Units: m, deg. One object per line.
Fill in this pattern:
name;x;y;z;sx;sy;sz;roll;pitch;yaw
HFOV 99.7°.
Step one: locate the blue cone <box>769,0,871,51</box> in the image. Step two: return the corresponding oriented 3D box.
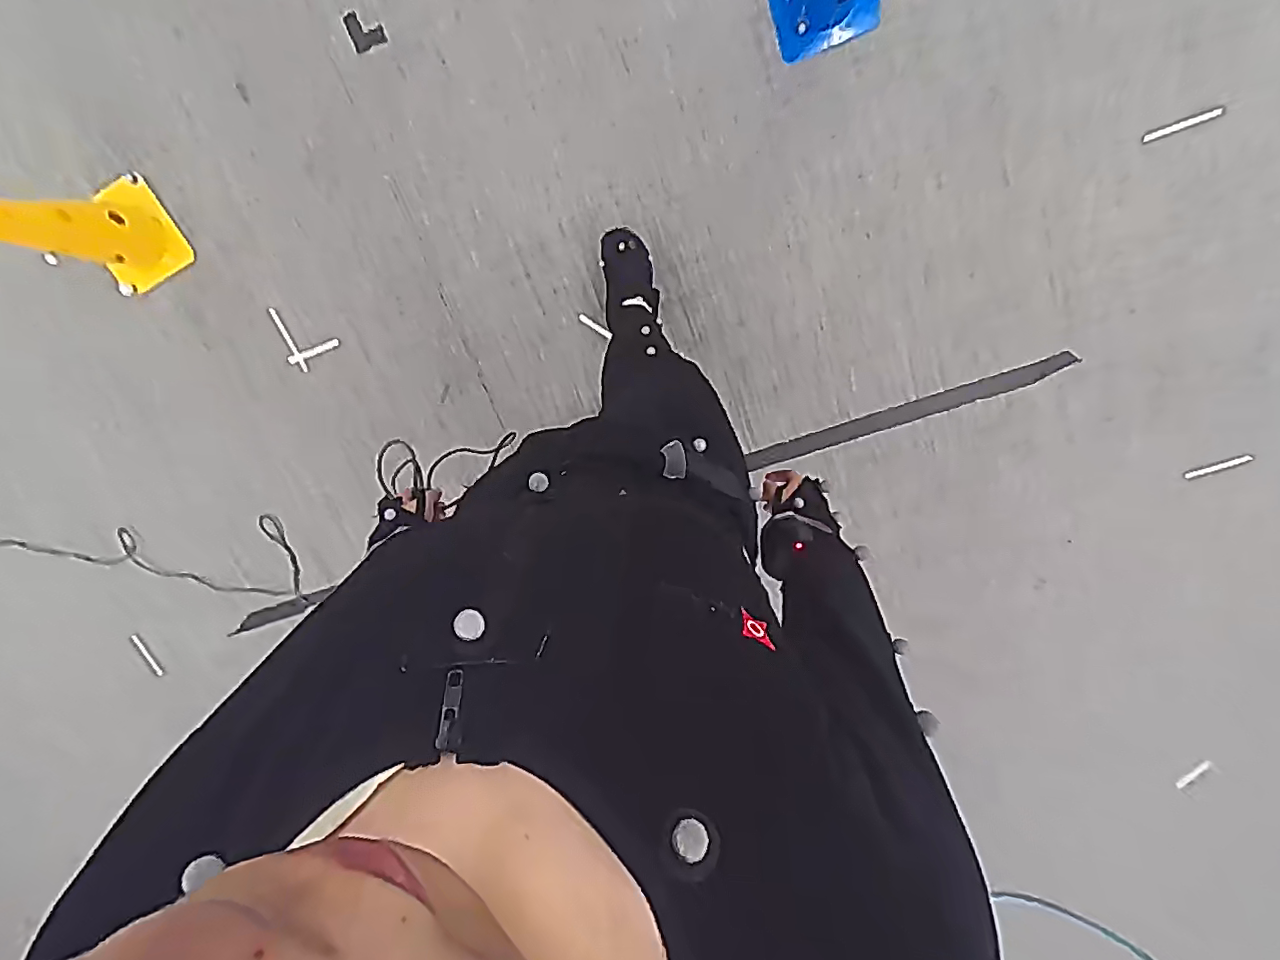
blue cone;0.335;-0.906;0.884;0.193;0.380;0.192;-18;106;7
